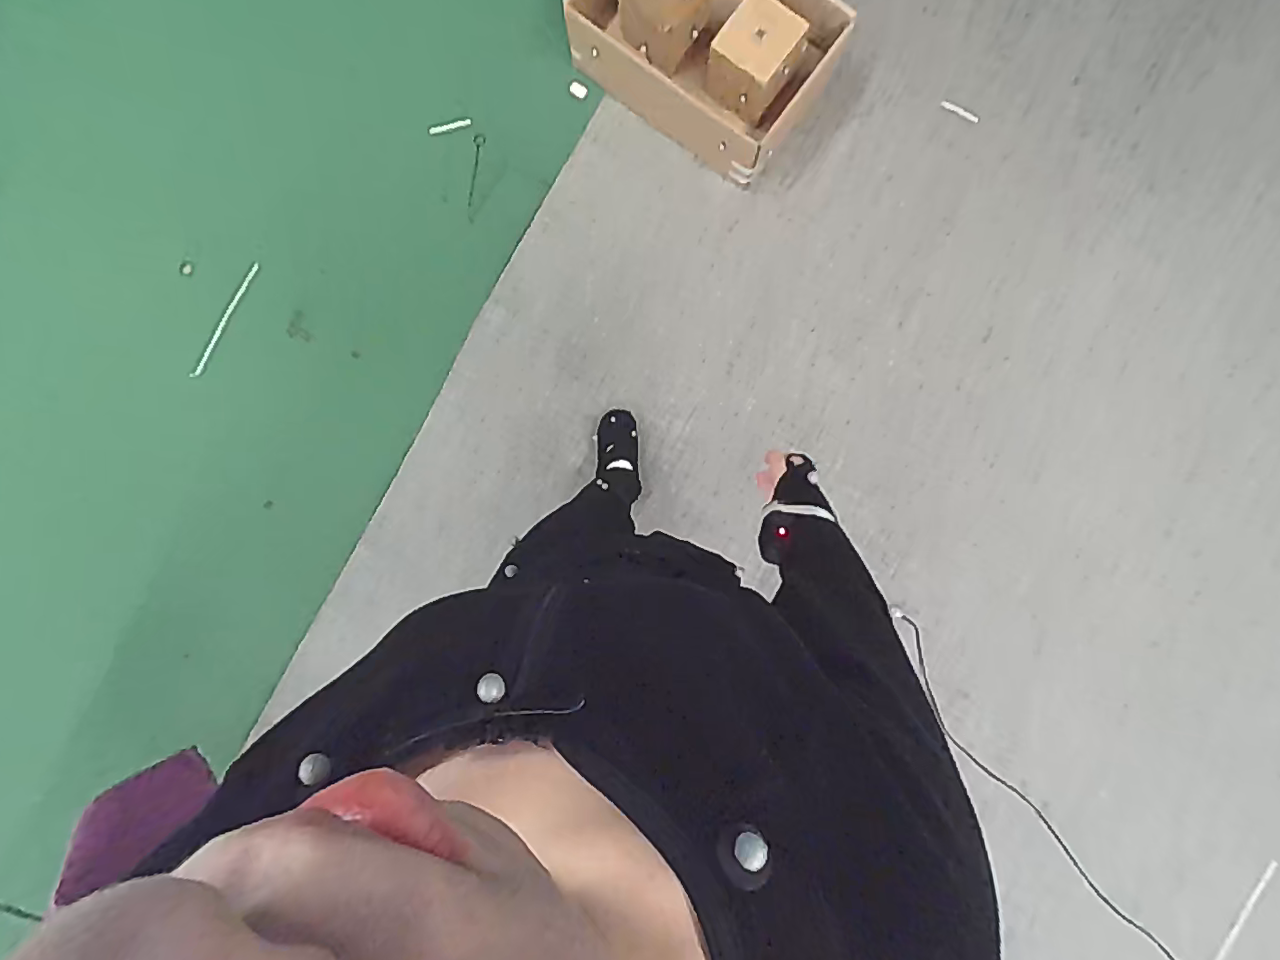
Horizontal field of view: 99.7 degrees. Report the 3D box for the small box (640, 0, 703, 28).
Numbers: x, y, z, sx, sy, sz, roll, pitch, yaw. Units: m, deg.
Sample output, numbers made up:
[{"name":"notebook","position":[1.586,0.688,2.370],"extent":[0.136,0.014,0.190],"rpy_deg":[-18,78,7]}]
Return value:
[{"name":"small box","position":[0.062,-1.179,1.204],"extent":[0.168,0.176,0.179],"rpy_deg":[-42,89,2]}]
